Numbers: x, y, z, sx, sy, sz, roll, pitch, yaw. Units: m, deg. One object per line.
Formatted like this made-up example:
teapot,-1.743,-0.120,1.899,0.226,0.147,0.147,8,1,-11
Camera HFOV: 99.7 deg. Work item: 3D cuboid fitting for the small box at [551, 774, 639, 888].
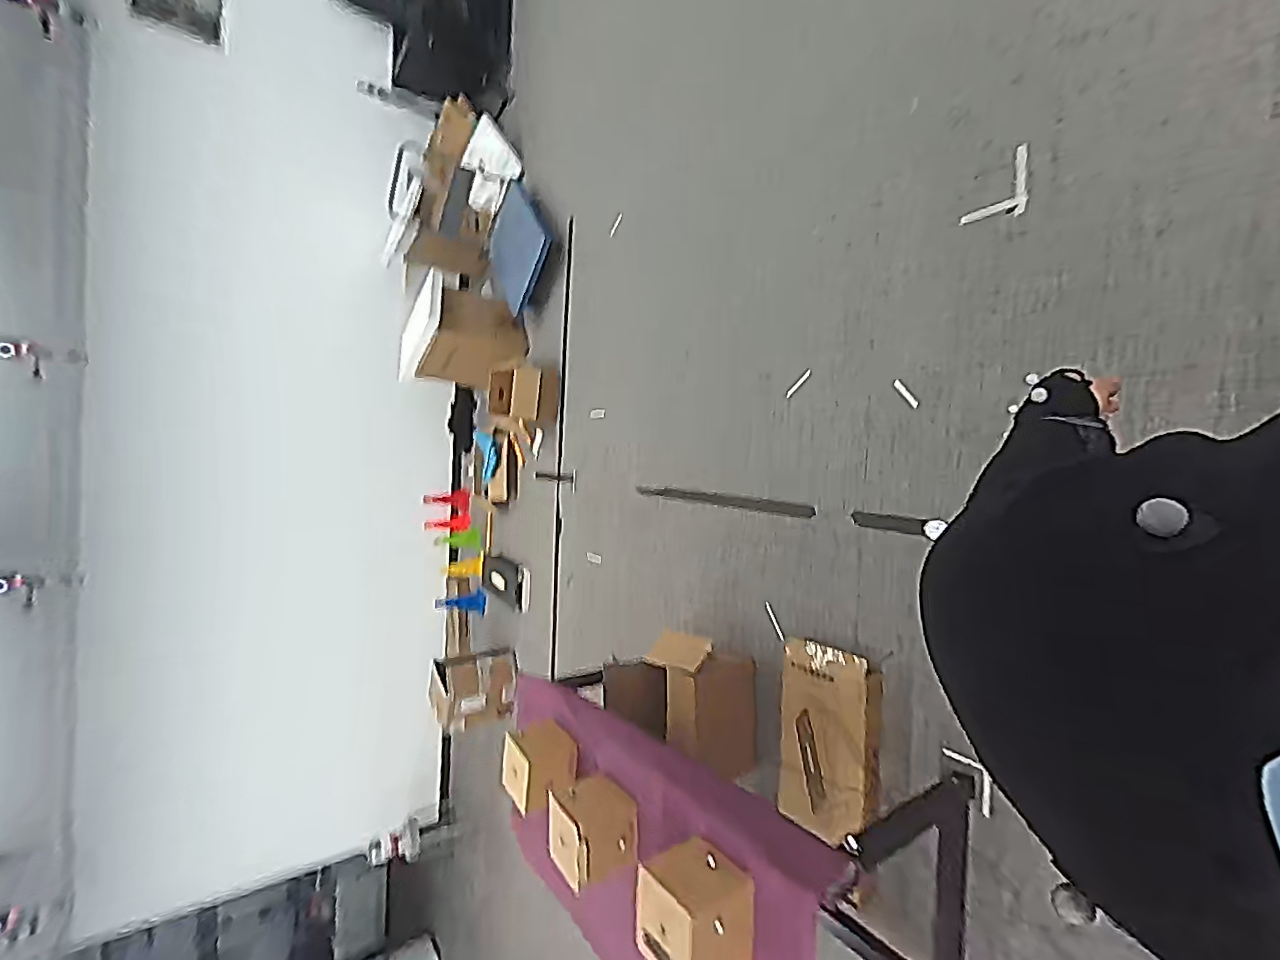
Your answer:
small box,-0.119,0.898,1.407,0.179,0.176,0.168,2,93,54

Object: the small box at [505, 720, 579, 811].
small box,-0.302,0.867,1.666,0.179,0.176,0.168,14,100,54
